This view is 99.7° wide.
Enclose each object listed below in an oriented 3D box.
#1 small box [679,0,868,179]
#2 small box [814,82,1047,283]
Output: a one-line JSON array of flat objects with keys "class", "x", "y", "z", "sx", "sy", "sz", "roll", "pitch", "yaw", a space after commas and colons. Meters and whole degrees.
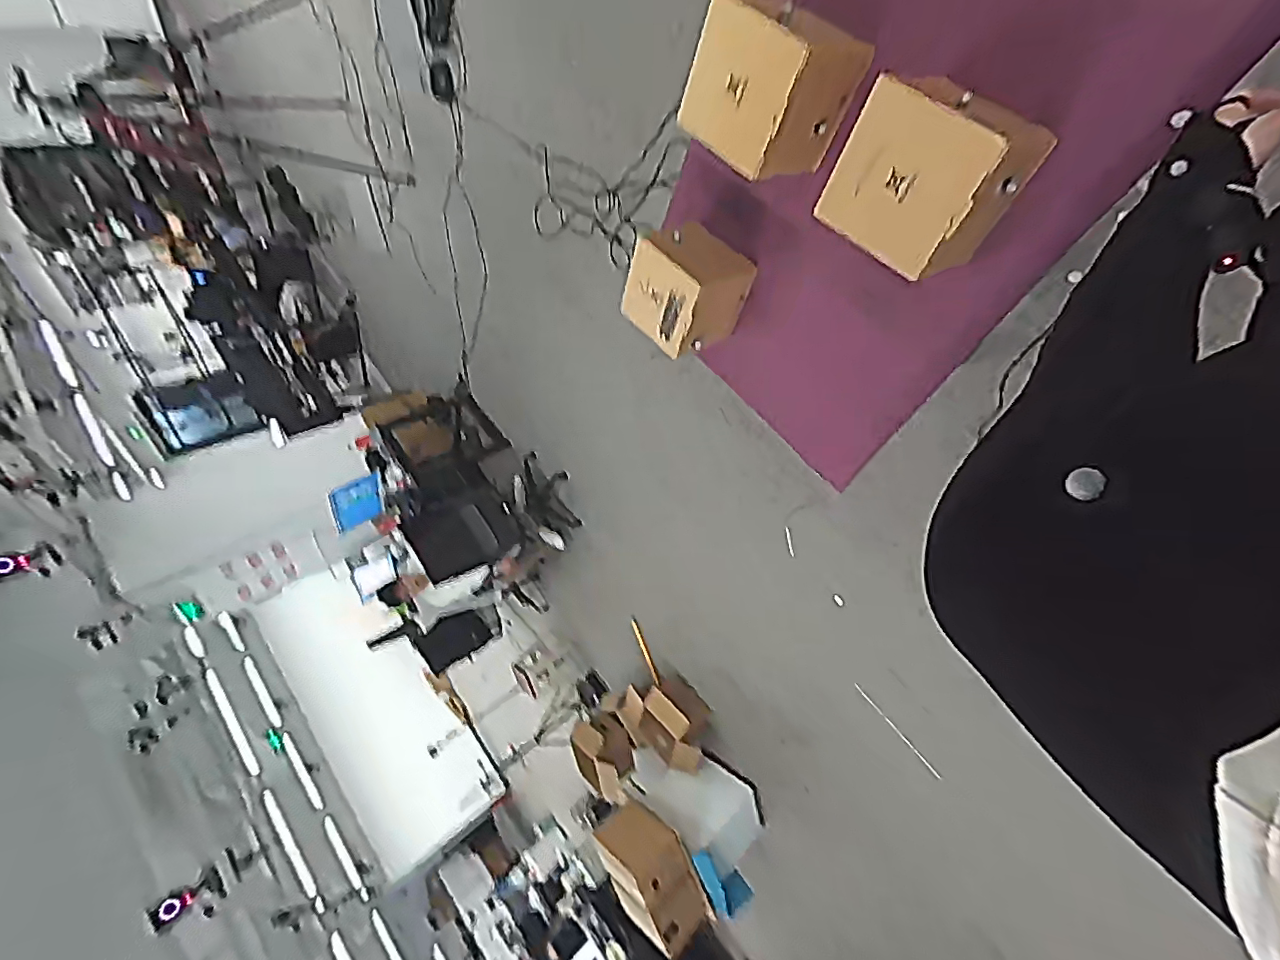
[{"class": "small box", "x": 0.194, "y": -0.579, "z": 0.805, "sx": 0.179, "sy": 0.176, "sz": 0.168, "roll": 47, "pitch": 144, "yaw": 18}, {"class": "small box", "x": 0.373, "y": -0.390, "z": 0.703, "sx": 0.179, "sy": 0.176, "sz": 0.168, "roll": 48, "pitch": 144, "yaw": 22}]
